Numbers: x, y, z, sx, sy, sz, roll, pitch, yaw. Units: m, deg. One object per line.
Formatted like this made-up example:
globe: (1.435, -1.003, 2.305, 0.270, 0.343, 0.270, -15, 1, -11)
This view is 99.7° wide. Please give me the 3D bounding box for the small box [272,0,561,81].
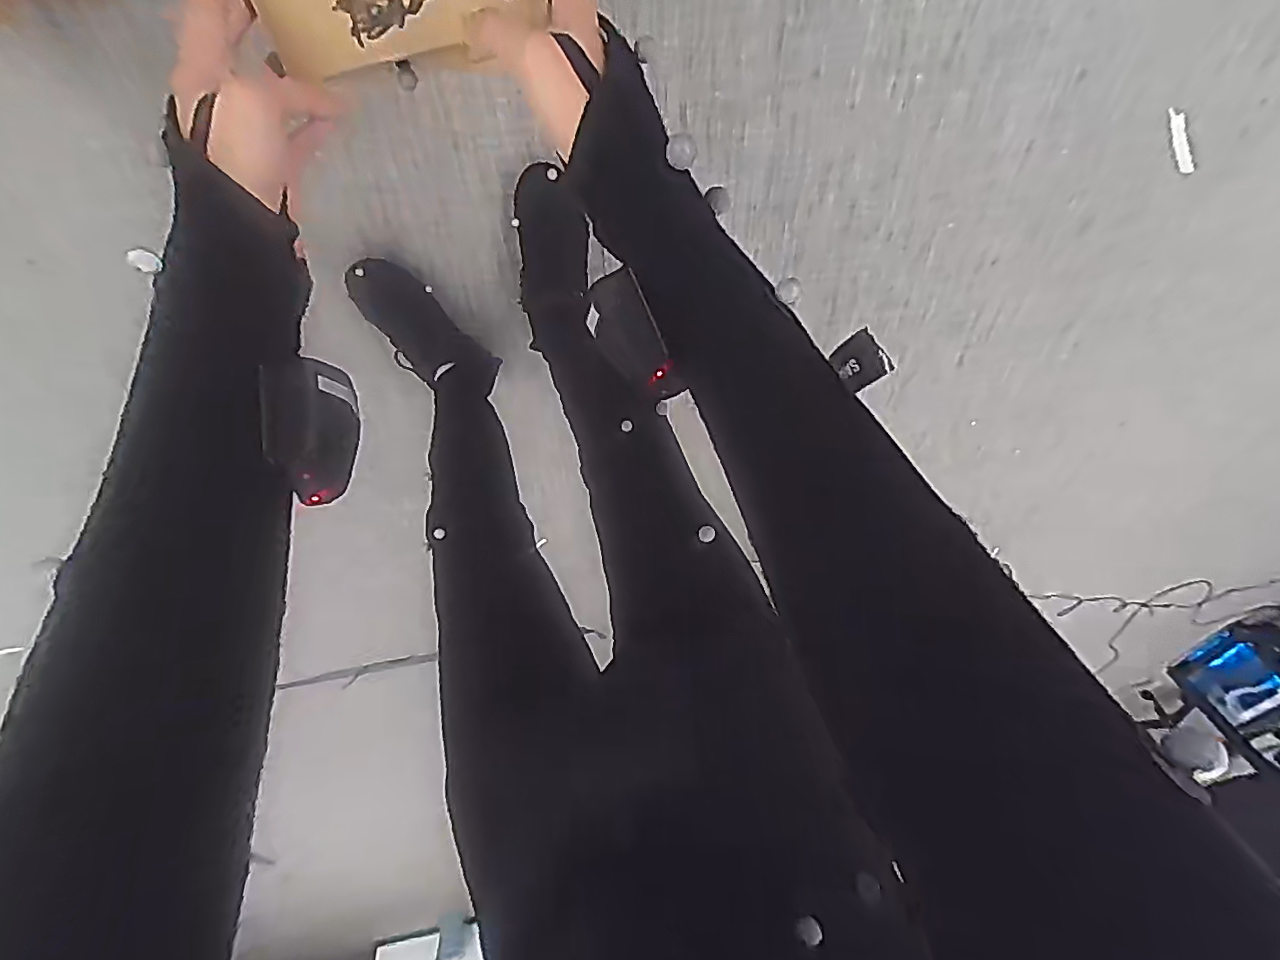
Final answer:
small box: (-0.155, -0.383, 0.348, 0.168, 0.176, 0.179, -14, 125, -1)
